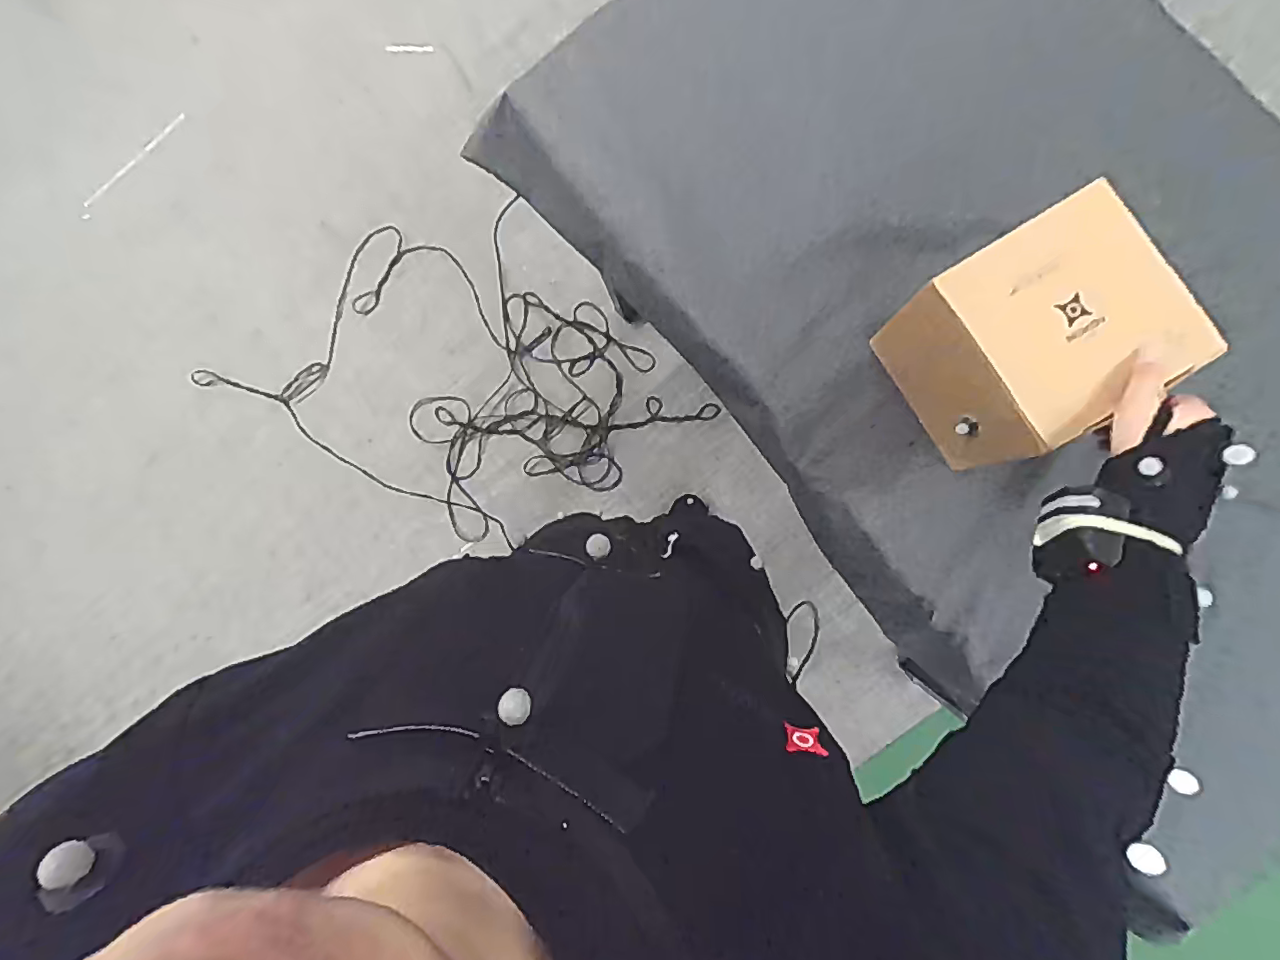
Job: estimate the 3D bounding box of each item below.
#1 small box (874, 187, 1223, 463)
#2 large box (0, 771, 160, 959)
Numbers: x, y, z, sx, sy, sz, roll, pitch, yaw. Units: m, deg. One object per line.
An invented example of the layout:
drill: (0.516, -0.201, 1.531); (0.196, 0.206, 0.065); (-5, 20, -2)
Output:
small box: (0.368, -0.128, 0.528); (0.168, 0.176, 0.179); (-31, 83, 2)
large box: (-1.536, 1.039, 1.335); (0.320, 0.320, 0.408); (-39, 83, 2)
